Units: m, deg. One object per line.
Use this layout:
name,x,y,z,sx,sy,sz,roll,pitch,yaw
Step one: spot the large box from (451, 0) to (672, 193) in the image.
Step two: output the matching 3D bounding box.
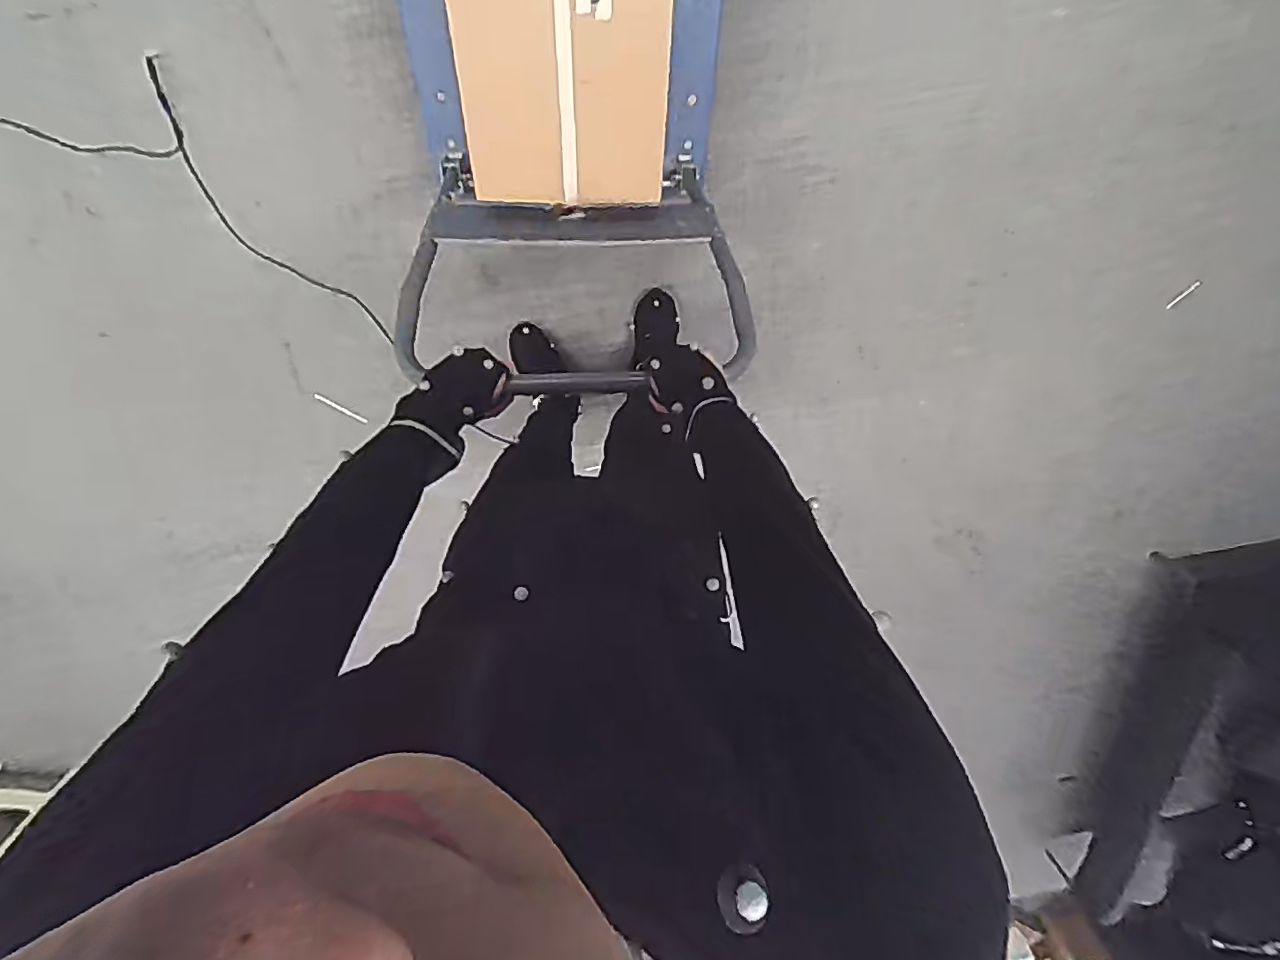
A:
large box,-0.119,-0.736,0.895,0.320,0.320,0.408,-2,134,-5
